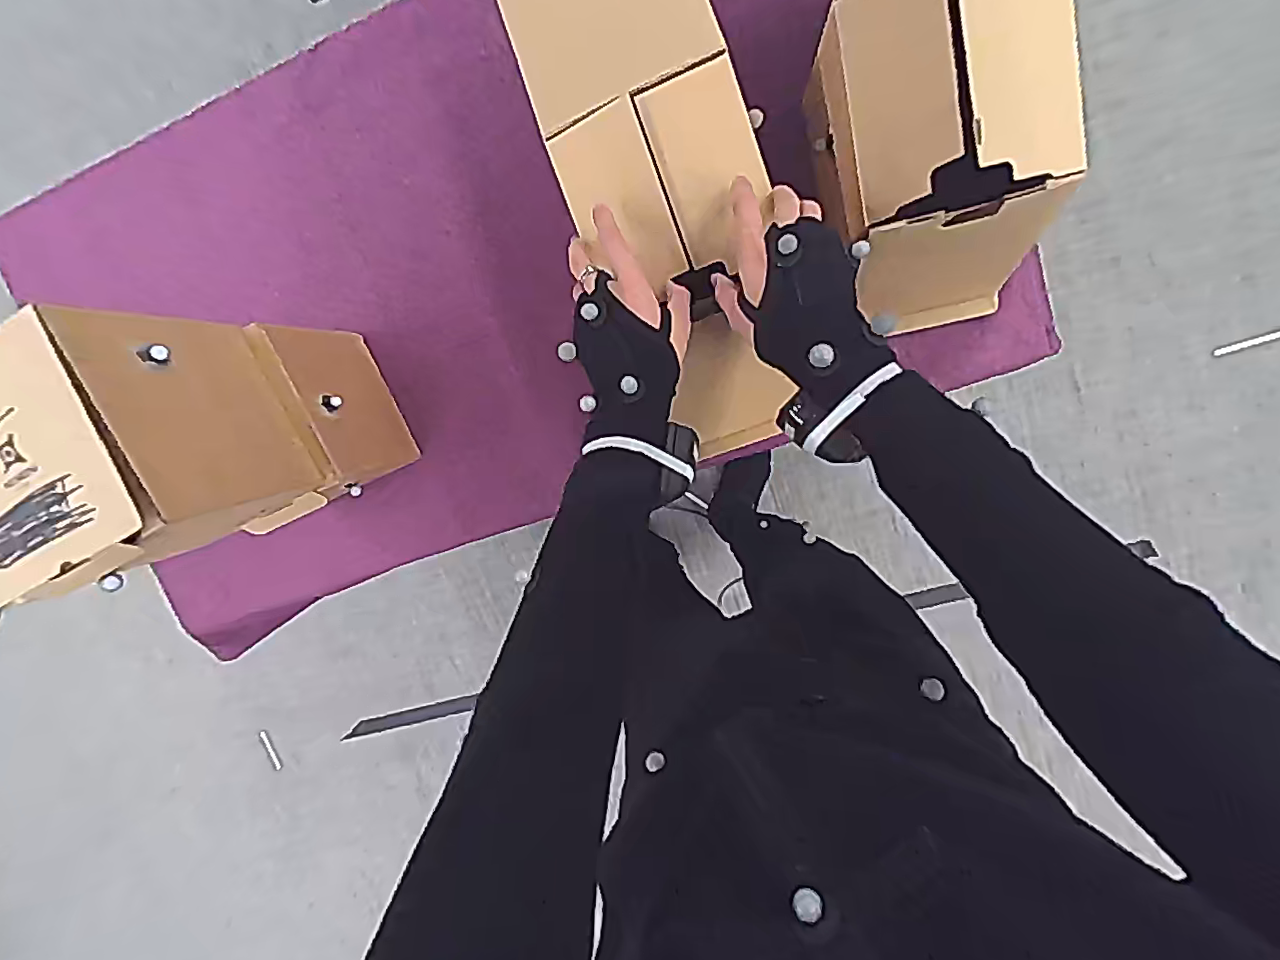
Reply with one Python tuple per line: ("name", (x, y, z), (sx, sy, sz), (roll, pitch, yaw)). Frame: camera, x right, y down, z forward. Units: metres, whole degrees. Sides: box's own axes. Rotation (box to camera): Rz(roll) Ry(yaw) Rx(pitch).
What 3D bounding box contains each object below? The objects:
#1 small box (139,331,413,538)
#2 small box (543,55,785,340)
("small box", (-0.404, -0.058, 0.635), (0.168, 0.176, 0.179), (-22, 98, 11))
("small box", (0.029, -0.251, 0.534), (0.168, 0.176, 0.179), (-19, 99, 12))
